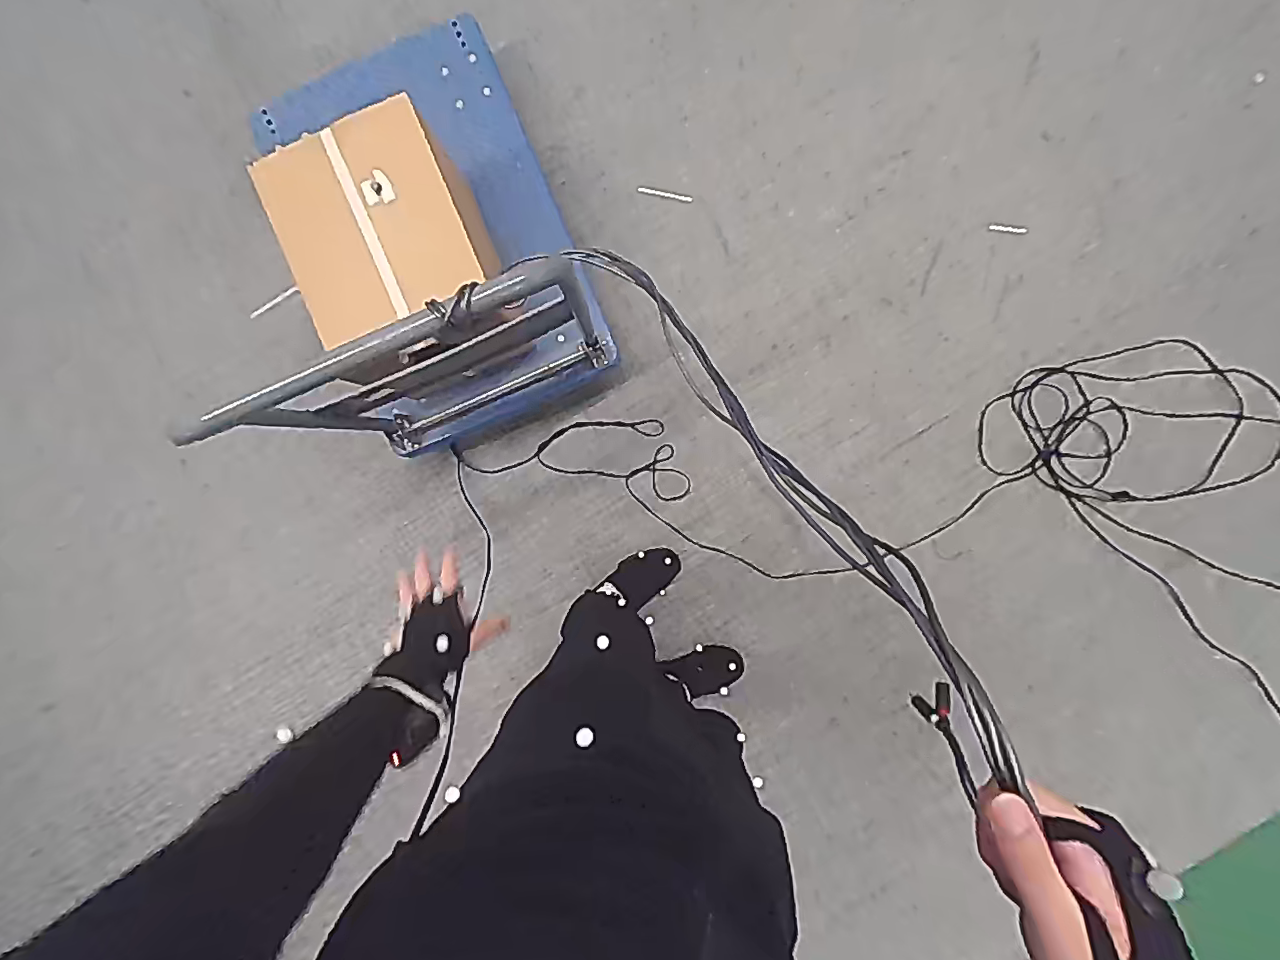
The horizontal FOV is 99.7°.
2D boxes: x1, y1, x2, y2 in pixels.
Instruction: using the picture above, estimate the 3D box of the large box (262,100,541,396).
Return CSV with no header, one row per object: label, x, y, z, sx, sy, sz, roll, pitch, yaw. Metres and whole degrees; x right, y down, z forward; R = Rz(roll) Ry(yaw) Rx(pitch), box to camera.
large box,-0.447,-0.428,1.099,0.320,0.320,0.408,-23,90,2
